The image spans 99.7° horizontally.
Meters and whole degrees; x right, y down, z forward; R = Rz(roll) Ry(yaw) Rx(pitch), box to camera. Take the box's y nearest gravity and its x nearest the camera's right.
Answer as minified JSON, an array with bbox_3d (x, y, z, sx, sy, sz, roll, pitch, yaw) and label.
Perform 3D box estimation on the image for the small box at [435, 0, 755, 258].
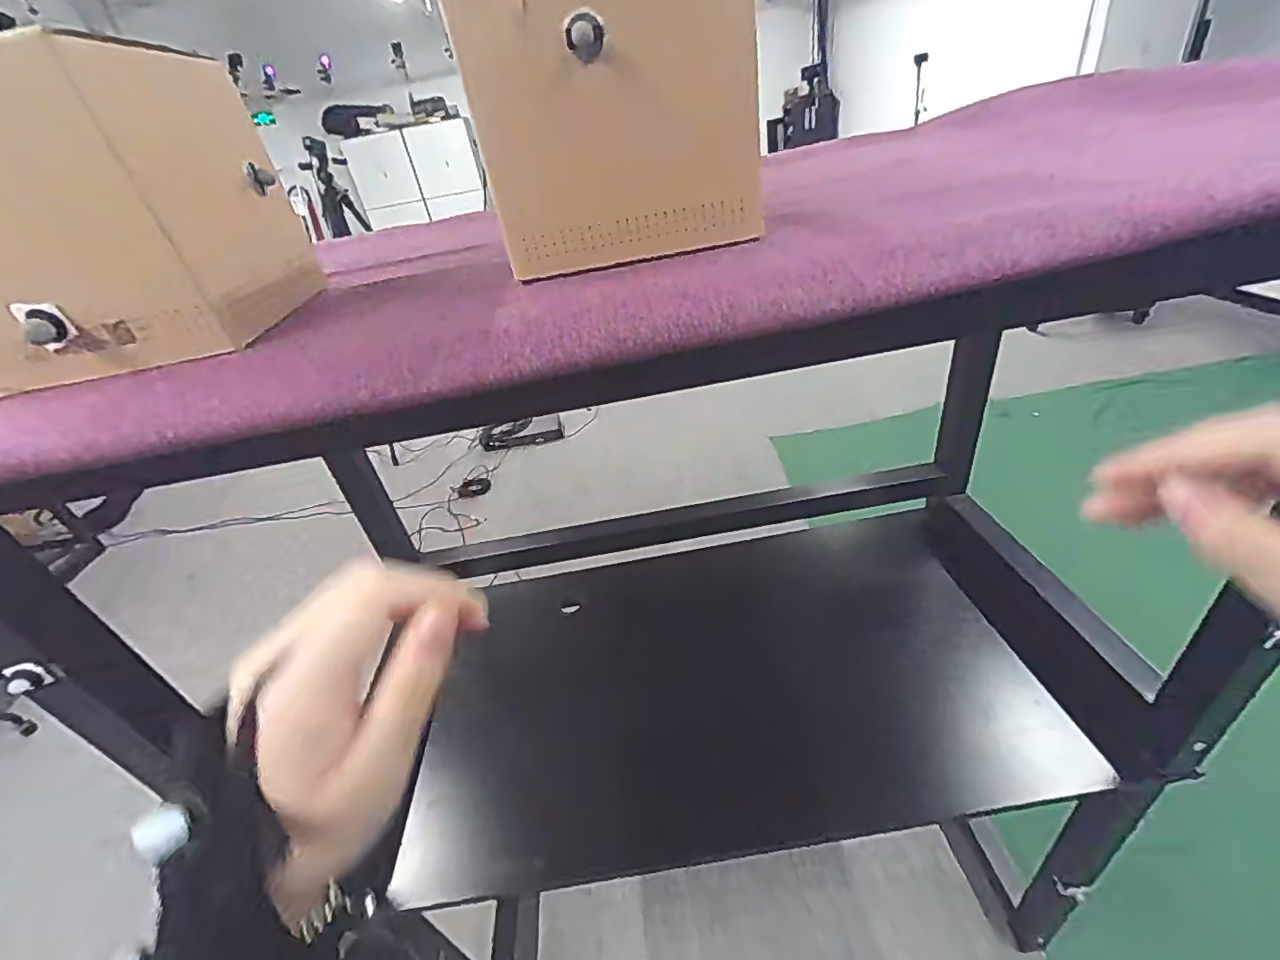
[{"bbox_3d":[-0.024,-0.269,0.387,0.179,0.176,0.168,-10,33,2],"label":"small box"}]

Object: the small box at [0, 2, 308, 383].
[{"bbox_3d":[-0.364,-0.185,0.364,0.168,0.176,0.179,-13,35,-1],"label":"small box"}]
